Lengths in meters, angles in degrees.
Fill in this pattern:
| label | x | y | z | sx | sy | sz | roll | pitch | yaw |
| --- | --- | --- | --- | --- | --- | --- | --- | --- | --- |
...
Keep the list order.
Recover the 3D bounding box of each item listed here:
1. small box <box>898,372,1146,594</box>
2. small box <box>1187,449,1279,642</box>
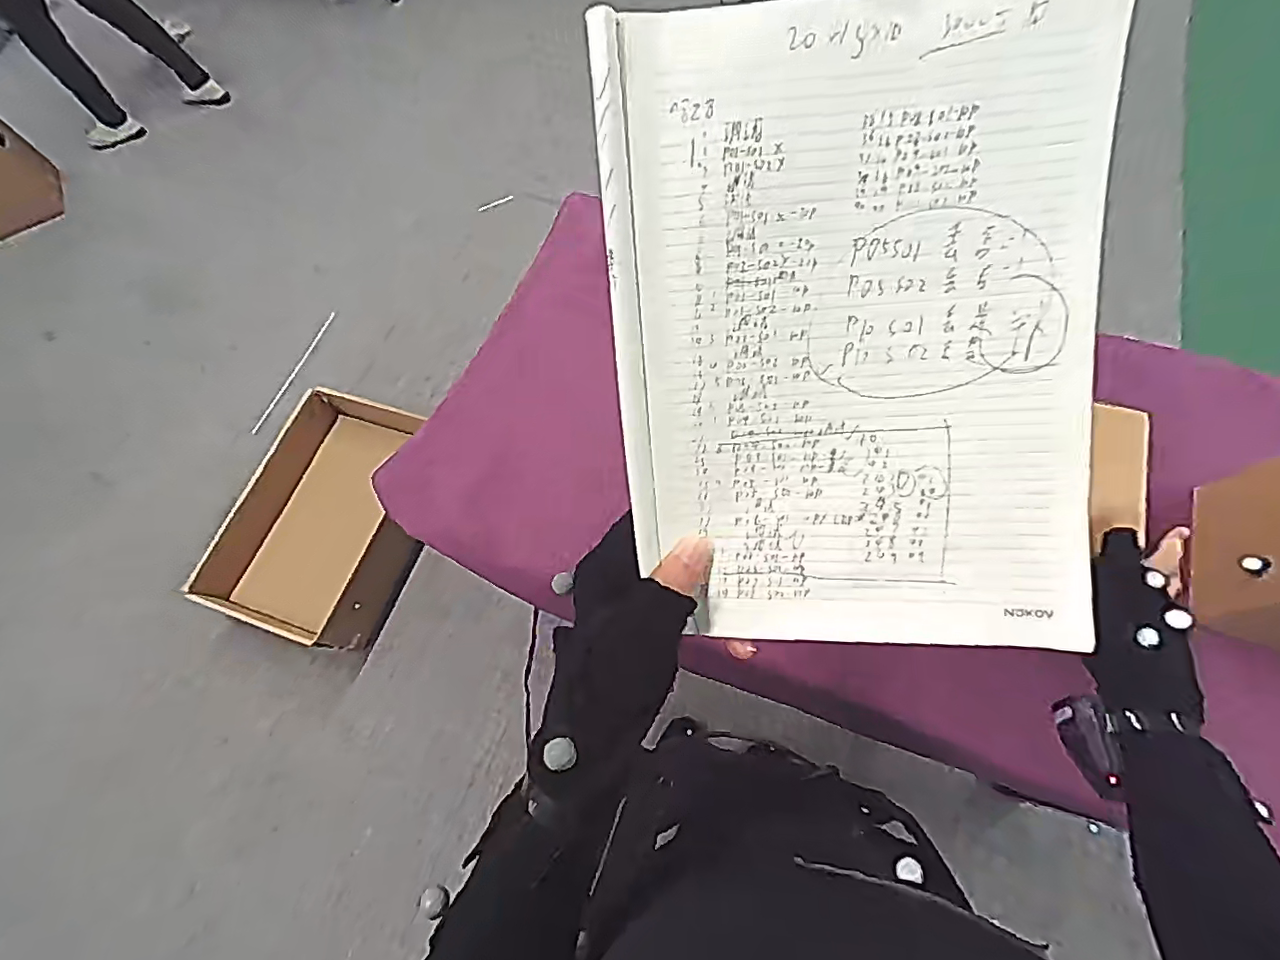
| label | x | y | z | sx | sy | sz | roll | pitch | yaw |
| --- | --- | --- | --- | --- | --- | --- | --- | --- | --- |
| small box | 0.410 | 0.013 | 0.607 | 0.168 | 0.176 | 0.179 | 17 | 70 | 12 |
| small box | 0.720 | 0.077 | 0.552 | 0.168 | 0.176 | 0.179 | 20 | 71 | 12 |
